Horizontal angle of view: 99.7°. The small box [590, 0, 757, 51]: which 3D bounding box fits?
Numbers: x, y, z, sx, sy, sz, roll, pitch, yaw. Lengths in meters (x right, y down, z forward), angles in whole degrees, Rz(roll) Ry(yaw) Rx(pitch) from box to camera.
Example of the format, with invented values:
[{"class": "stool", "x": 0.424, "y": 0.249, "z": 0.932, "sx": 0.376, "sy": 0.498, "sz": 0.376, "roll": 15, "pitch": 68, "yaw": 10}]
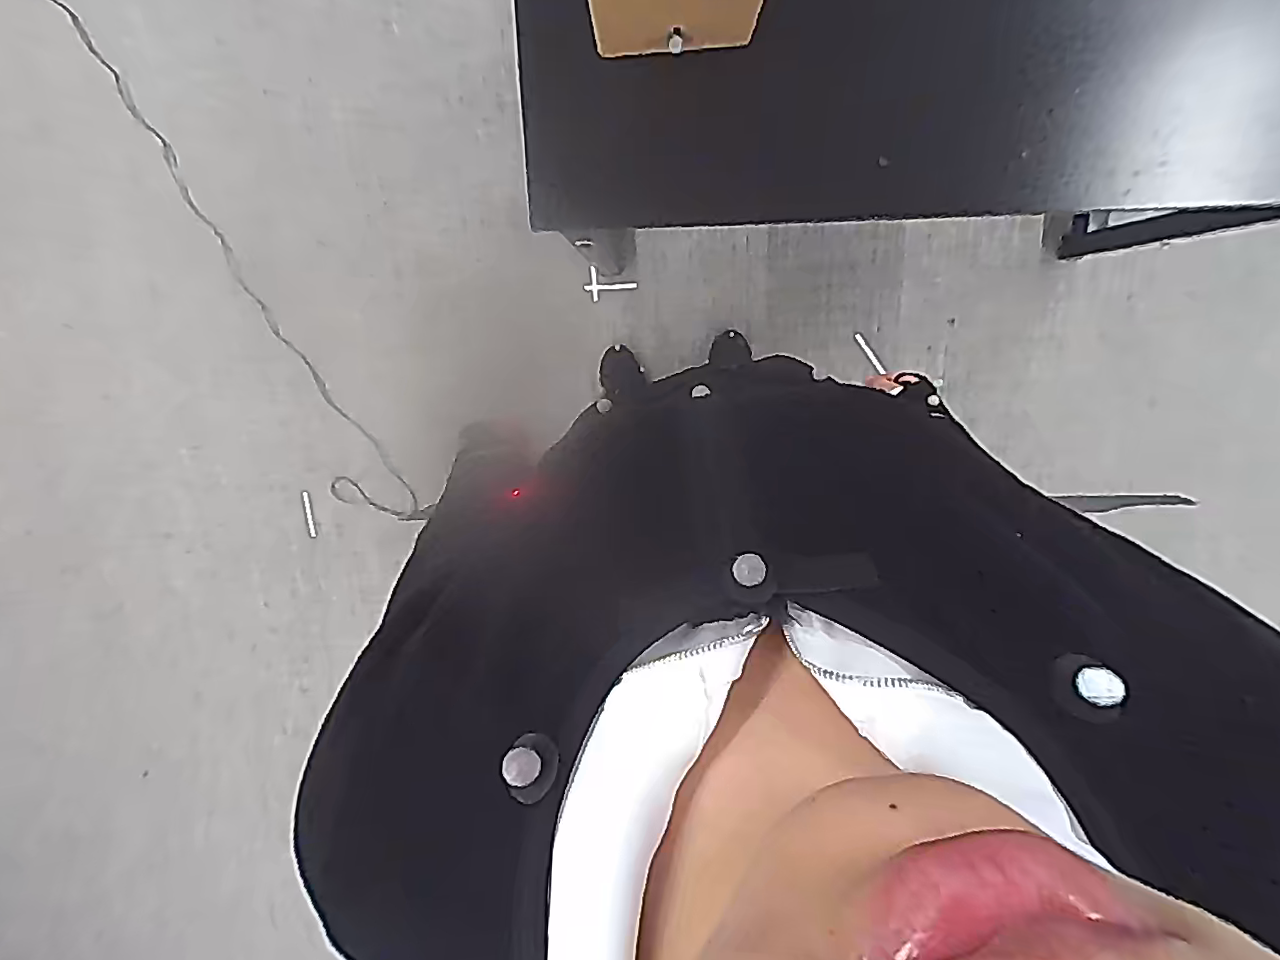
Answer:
[{"class": "small box", "x": 0.033, "y": -0.557, "z": 0.527, "sx": 0.179, "sy": 0.176, "sz": 0.168, "roll": -4, "pitch": 105, "yaw": 1}]
